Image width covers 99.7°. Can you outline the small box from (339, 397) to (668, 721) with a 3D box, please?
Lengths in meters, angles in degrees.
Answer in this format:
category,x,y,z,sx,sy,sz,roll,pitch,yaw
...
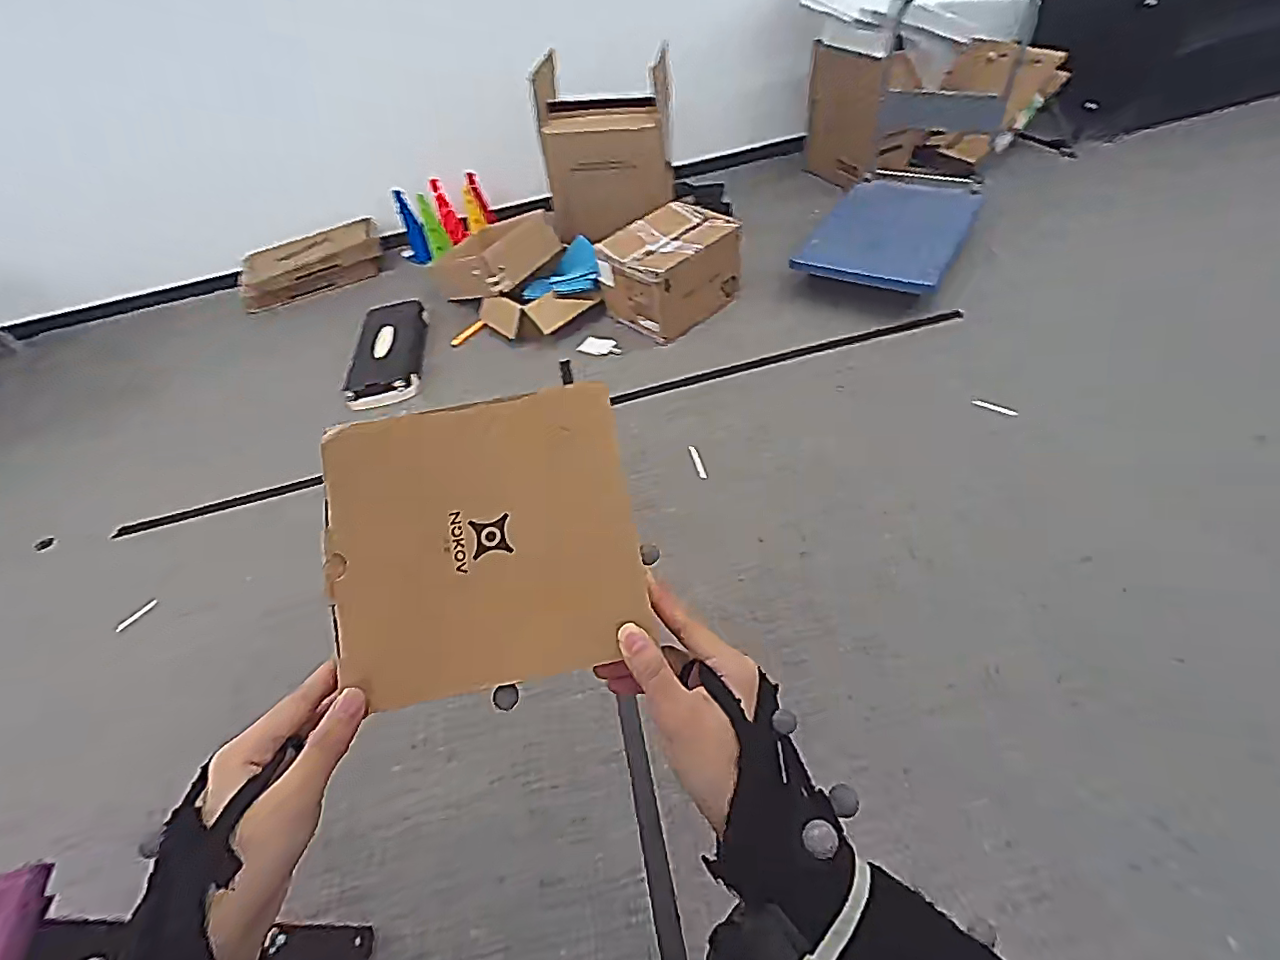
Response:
category,x,y,z,sx,sy,sz,roll,pitch,yaw
small box,-0.084,0.056,0.393,0.179,0.176,0.168,-10,77,-3
